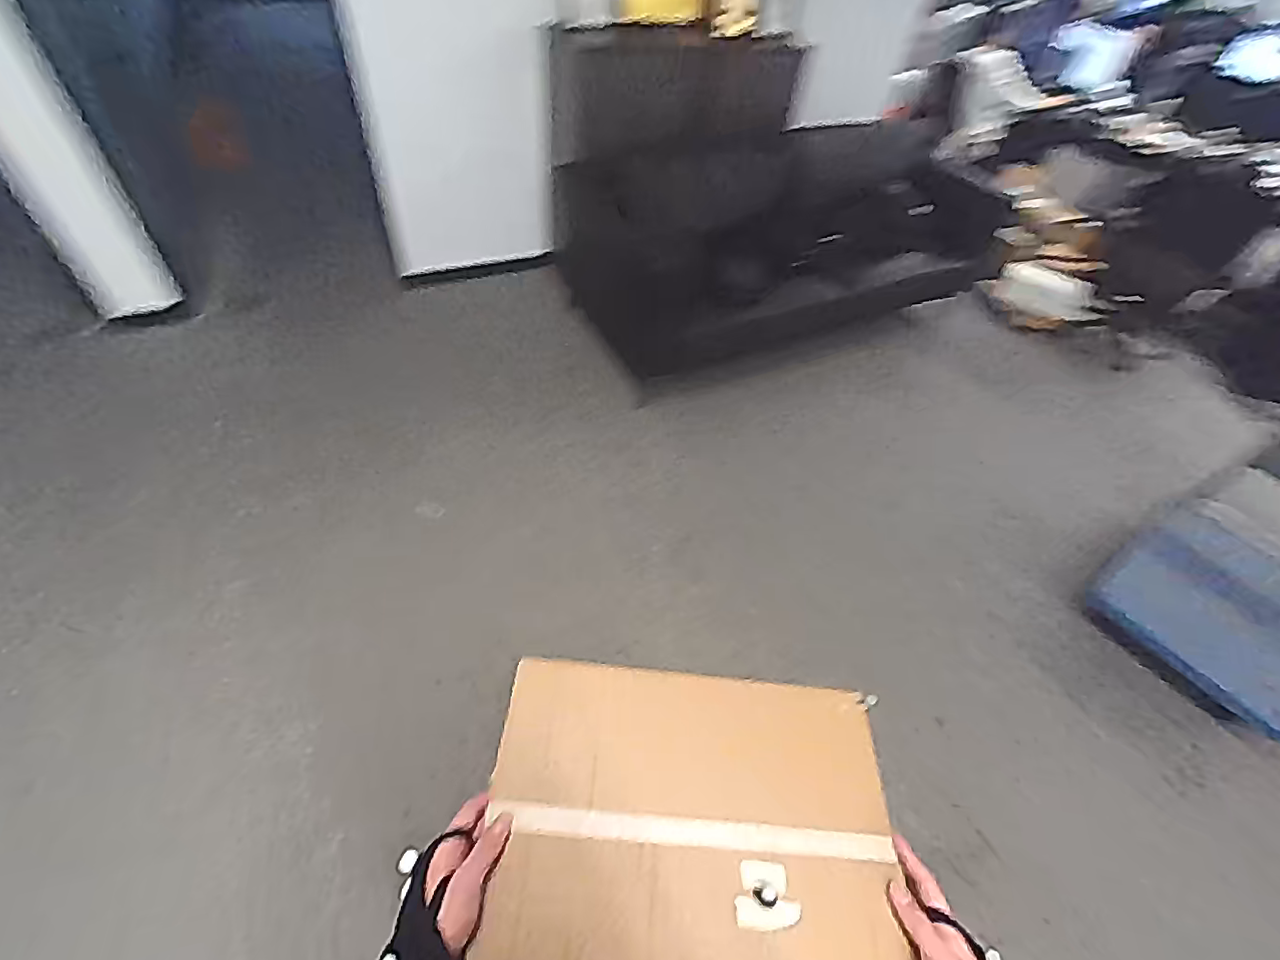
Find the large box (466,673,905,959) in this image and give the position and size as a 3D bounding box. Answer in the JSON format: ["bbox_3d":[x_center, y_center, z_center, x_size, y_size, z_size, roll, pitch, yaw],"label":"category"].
[{"bbox_3d":[0.031,0.455,0.650,0.408,0.320,0.320,6,49,-3],"label":"large box"}]
